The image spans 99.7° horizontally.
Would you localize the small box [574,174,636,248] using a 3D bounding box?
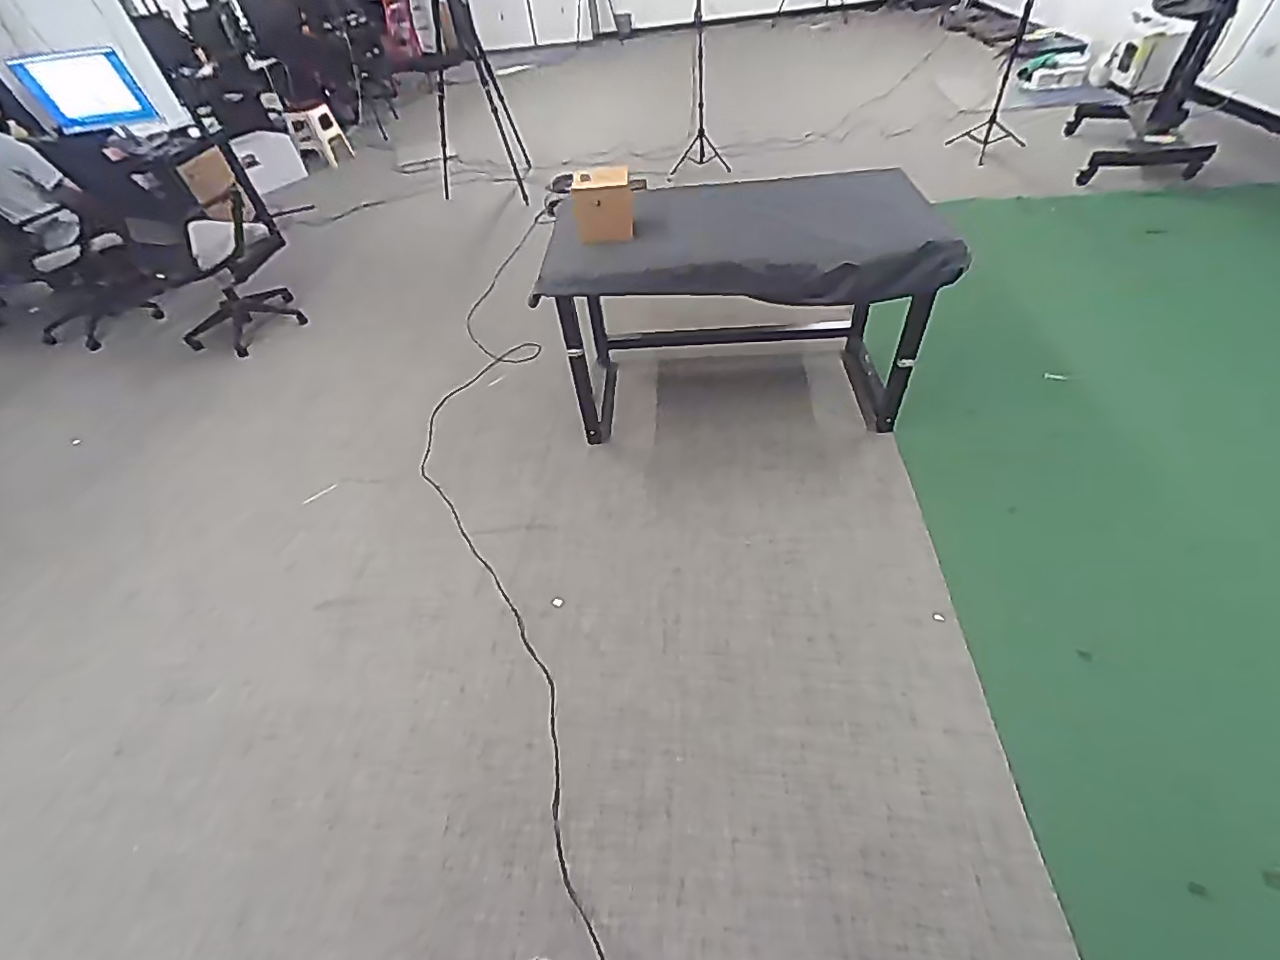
[{"bbox_3d":[-0.107,-0.863,1.740,0.179,0.176,0.168,-3,47,3],"label":"small box"}]
